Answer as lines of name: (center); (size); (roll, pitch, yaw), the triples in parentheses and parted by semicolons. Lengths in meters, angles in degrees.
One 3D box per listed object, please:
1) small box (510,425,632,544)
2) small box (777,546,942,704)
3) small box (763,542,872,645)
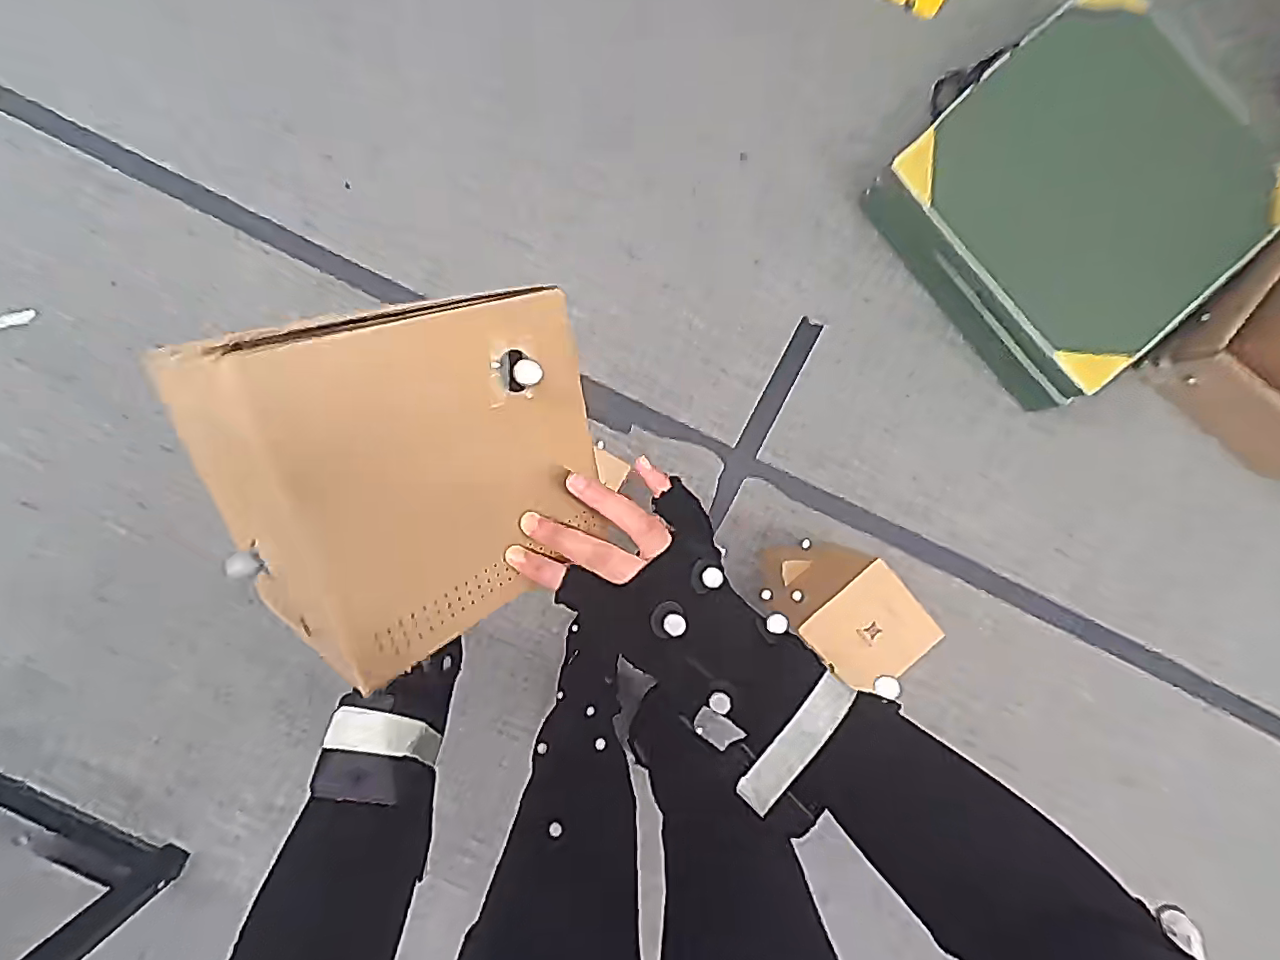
small box: (-0.127, 0.007, 1.076); (0.179, 0.176, 0.168); (29, 89, 0)
small box: (0.355, 0.235, 0.921); (0.179, 0.176, 0.168); (-40, 92, -1)
small box: (0.353, 0.220, 1.086); (0.179, 0.176, 0.168); (-6, 90, -2)
